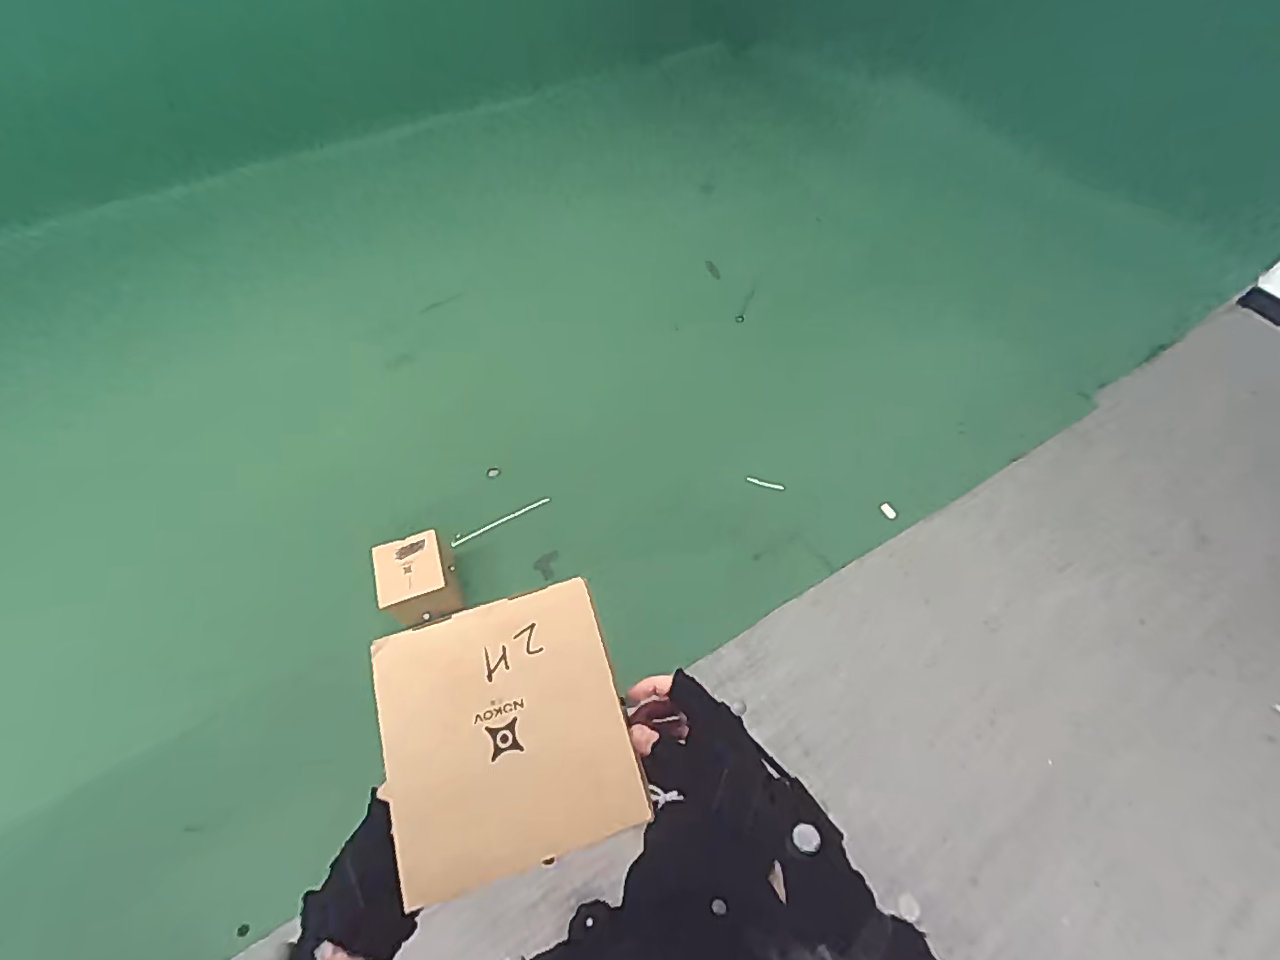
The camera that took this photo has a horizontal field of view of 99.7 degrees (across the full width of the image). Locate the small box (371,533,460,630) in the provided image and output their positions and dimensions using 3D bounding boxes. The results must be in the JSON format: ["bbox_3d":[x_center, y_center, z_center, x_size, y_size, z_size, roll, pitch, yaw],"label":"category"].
[{"bbox_3d":[-0.593,0.272,1.437,0.168,0.176,0.179,-17,60,-10],"label":"small box"}]
